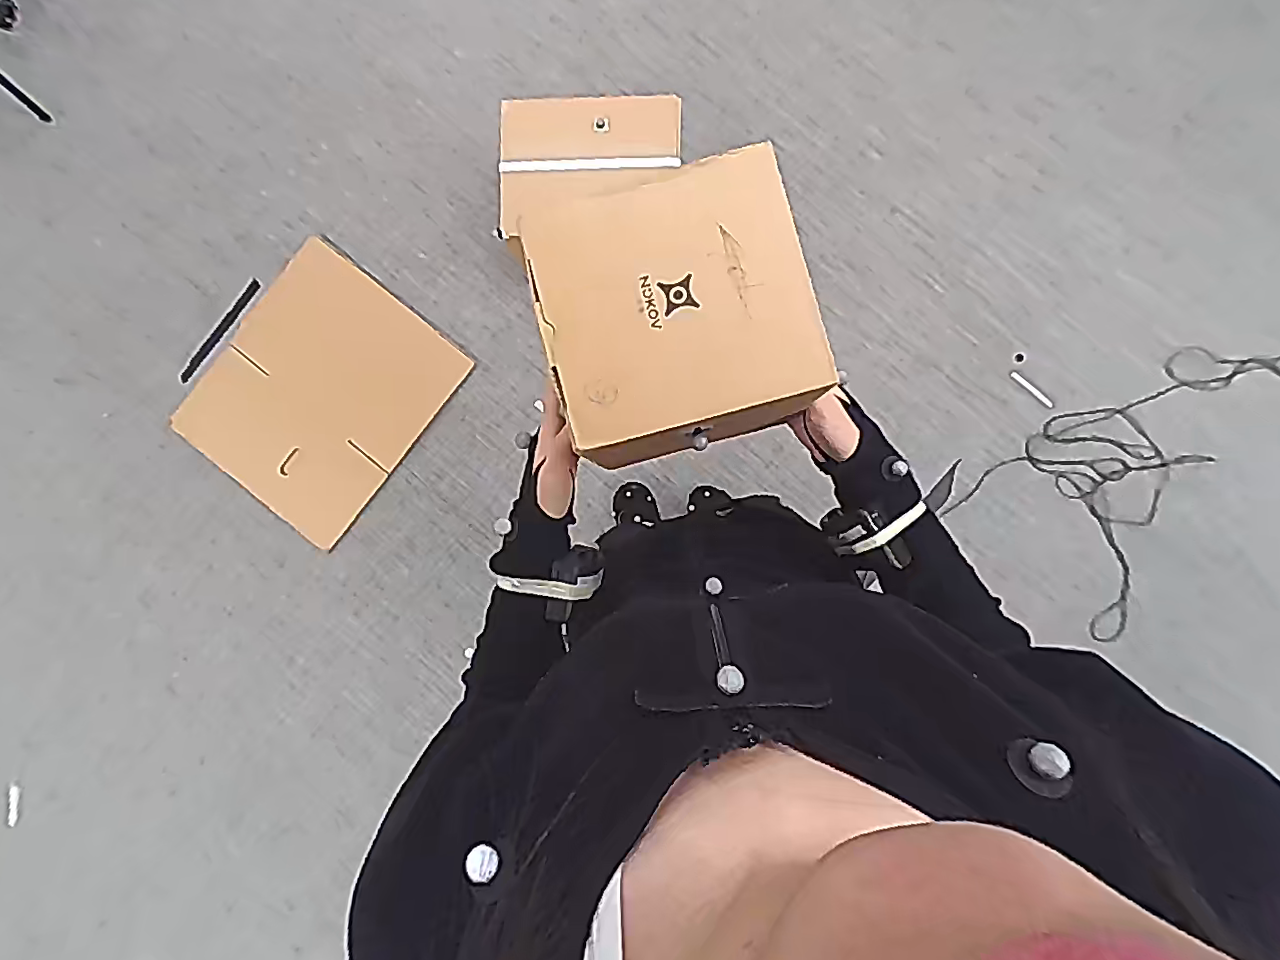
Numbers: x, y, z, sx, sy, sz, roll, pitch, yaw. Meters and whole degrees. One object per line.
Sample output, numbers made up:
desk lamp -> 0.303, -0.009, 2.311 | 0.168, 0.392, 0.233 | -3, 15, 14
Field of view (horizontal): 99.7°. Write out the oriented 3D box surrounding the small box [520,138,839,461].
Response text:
small box -> 0.029, -0.117, 0.426 | 0.179, 0.176, 0.168 | -15, 87, 3
